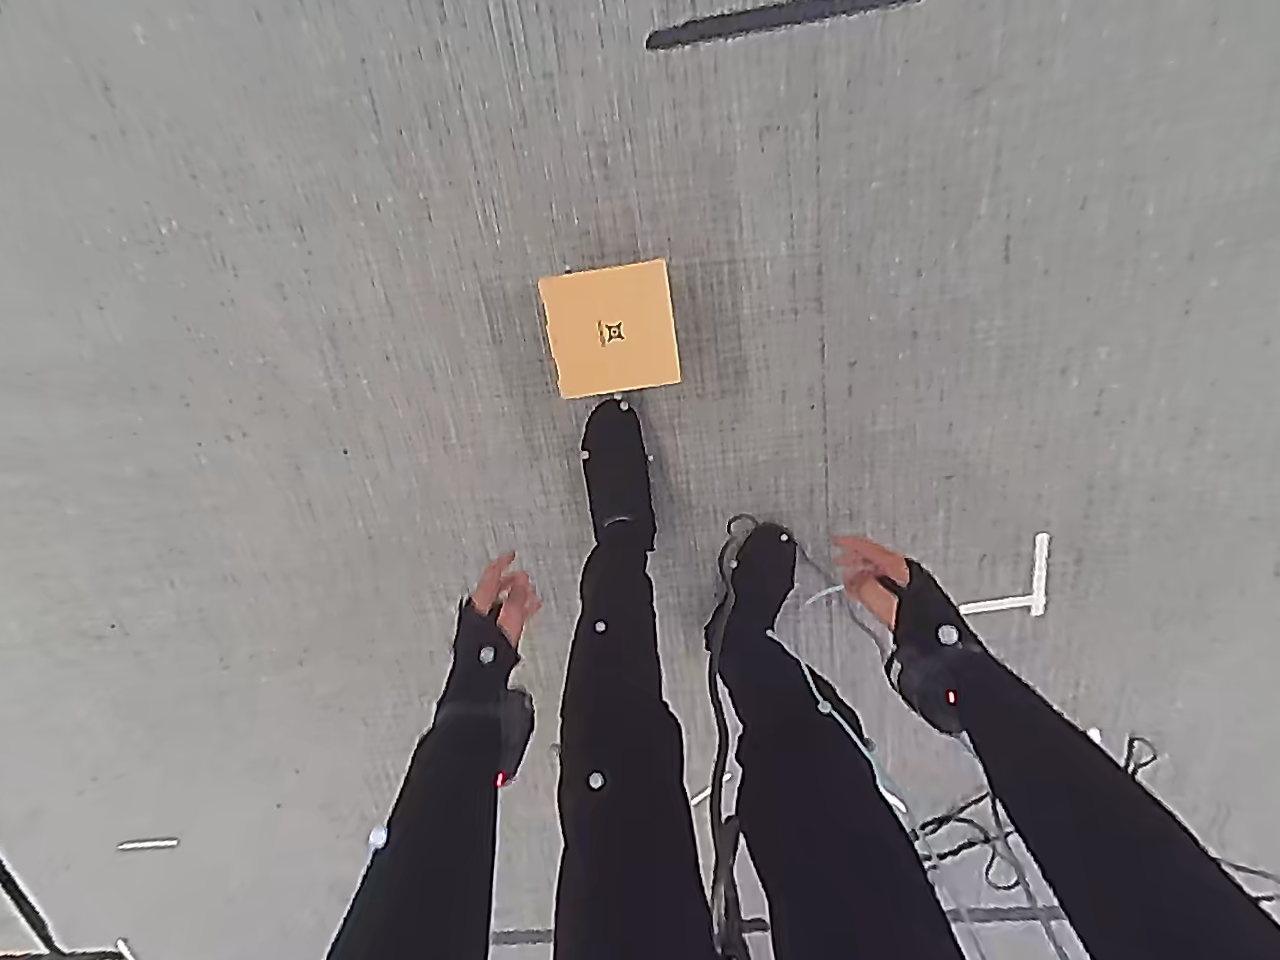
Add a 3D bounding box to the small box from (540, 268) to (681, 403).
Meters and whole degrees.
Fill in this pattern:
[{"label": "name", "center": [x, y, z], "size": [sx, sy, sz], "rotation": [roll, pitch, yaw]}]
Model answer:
[{"label": "small box", "center": [-0.037, -0.223, 0.821], "size": [0.179, 0.176, 0.168], "rotation": [-7, 109, 5]}]
